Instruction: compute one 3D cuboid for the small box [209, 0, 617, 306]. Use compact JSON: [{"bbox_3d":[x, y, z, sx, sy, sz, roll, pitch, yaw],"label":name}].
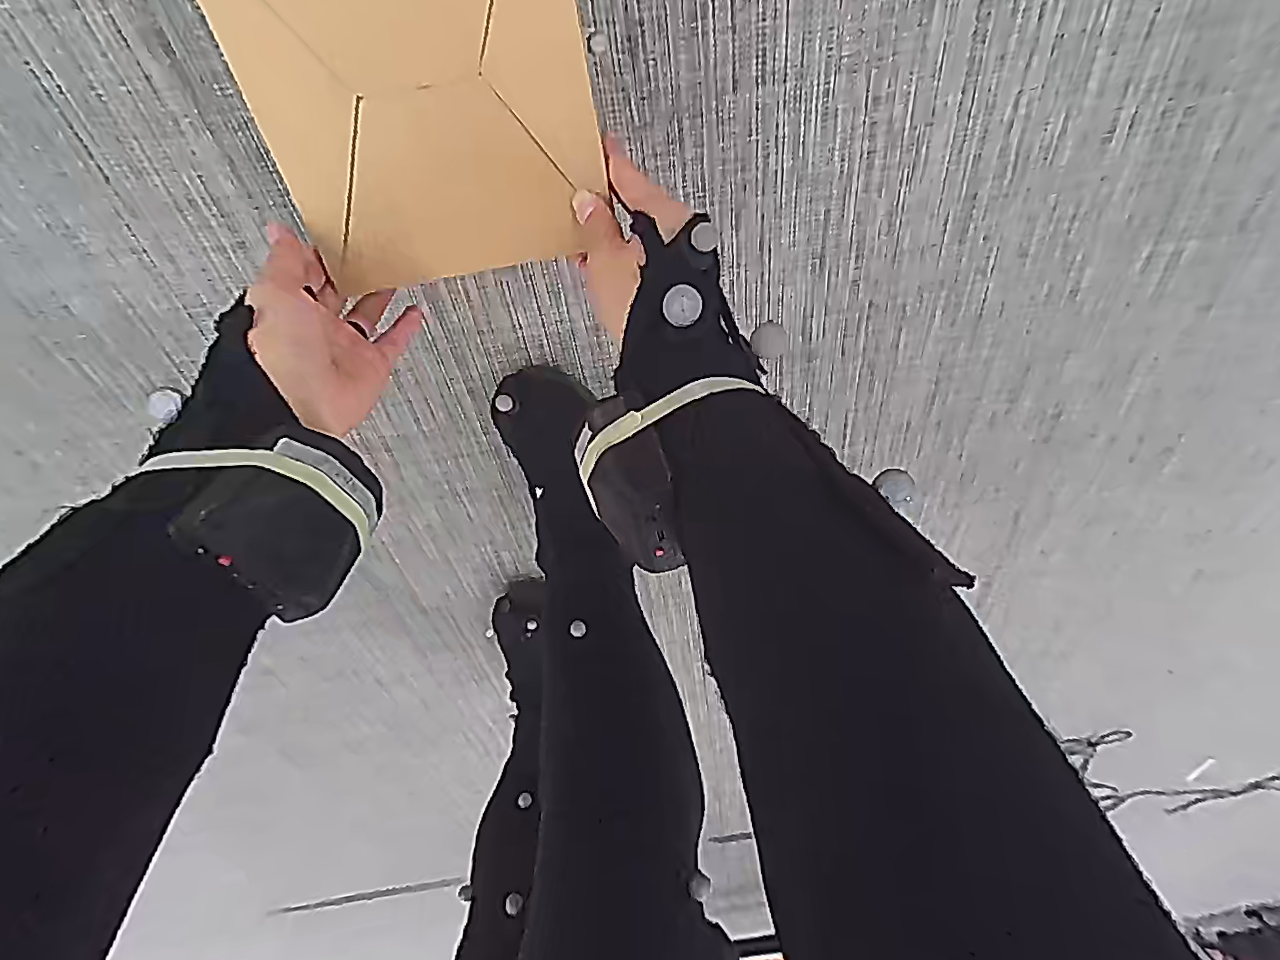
[{"bbox_3d":[-0.108,-0.227,0.328,0.168,0.176,0.179,-10,124,3],"label":"small box"}]
